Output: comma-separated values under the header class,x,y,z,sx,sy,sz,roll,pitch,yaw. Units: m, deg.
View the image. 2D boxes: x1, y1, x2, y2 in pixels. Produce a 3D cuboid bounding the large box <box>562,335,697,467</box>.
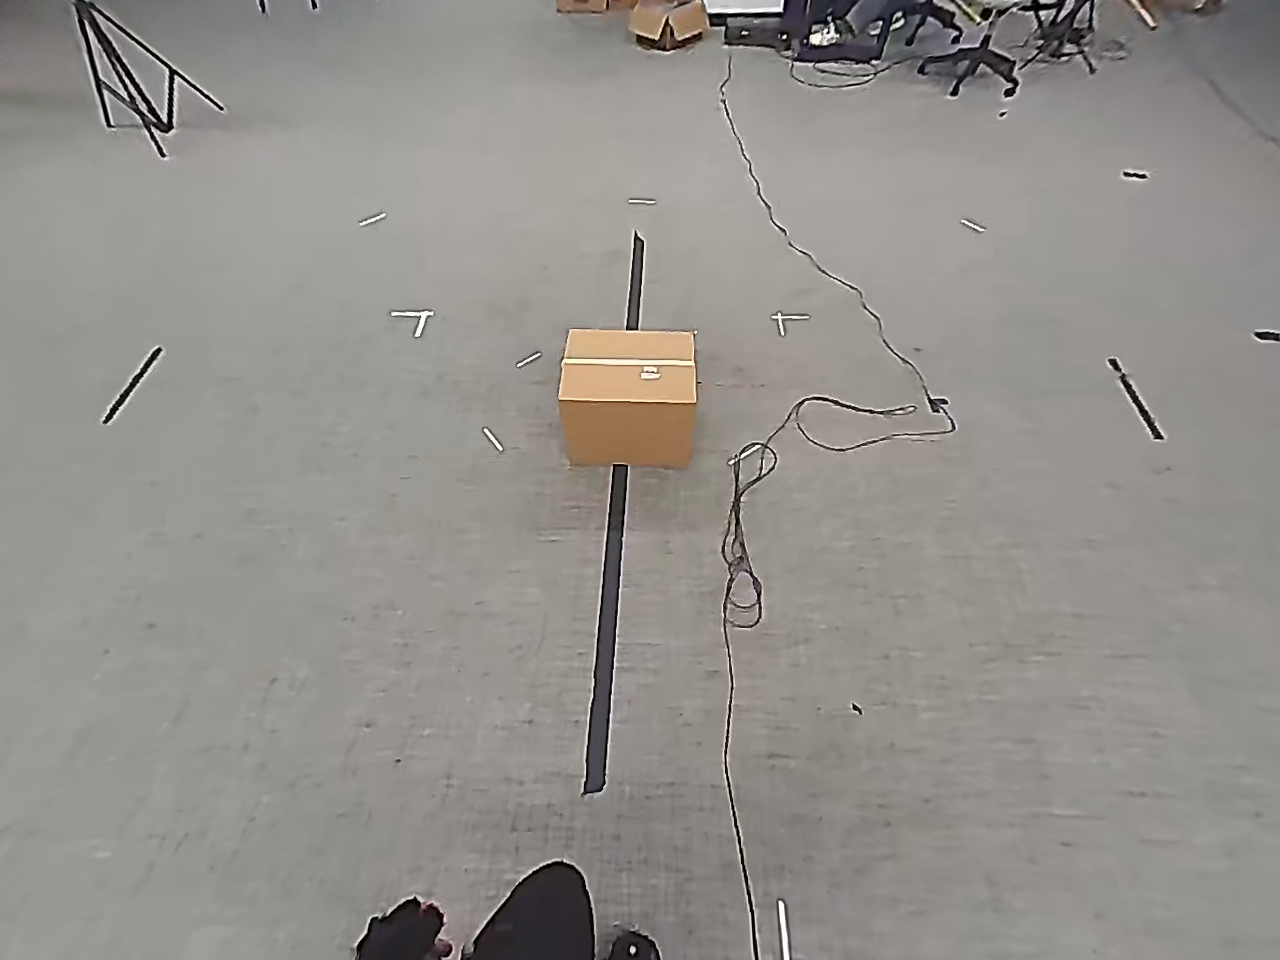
class,x,y,z,sx,sy,sz,roll,pitch,yaw
large box,-0.029,-0.255,1.778,0.408,0.320,0.320,2,55,1
